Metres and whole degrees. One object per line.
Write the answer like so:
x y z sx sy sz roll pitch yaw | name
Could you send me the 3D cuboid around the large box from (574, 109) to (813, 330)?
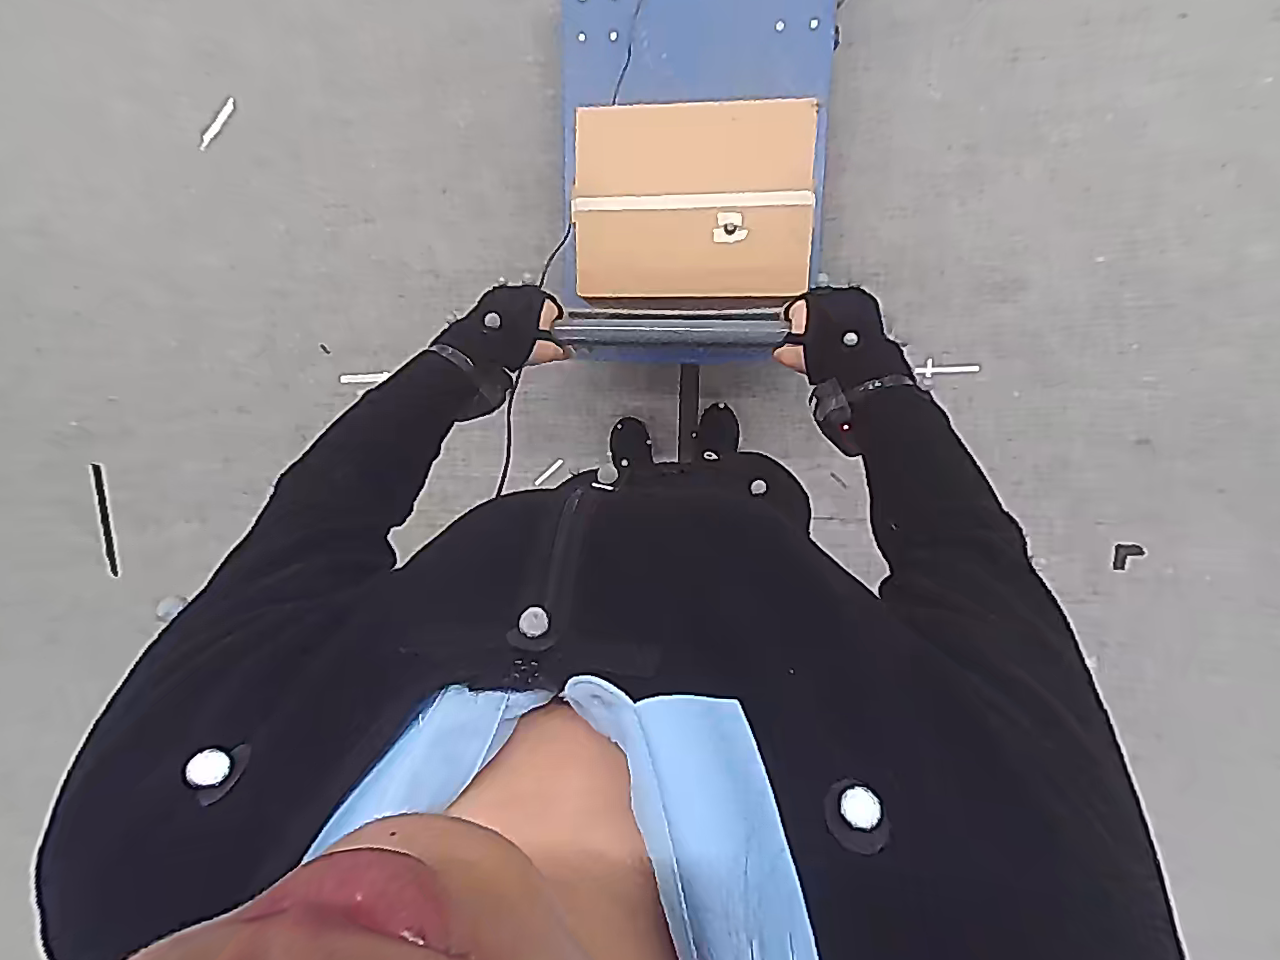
0.098 -0.477 1.068 0.408 0.320 0.320 1 99 5 | large box
